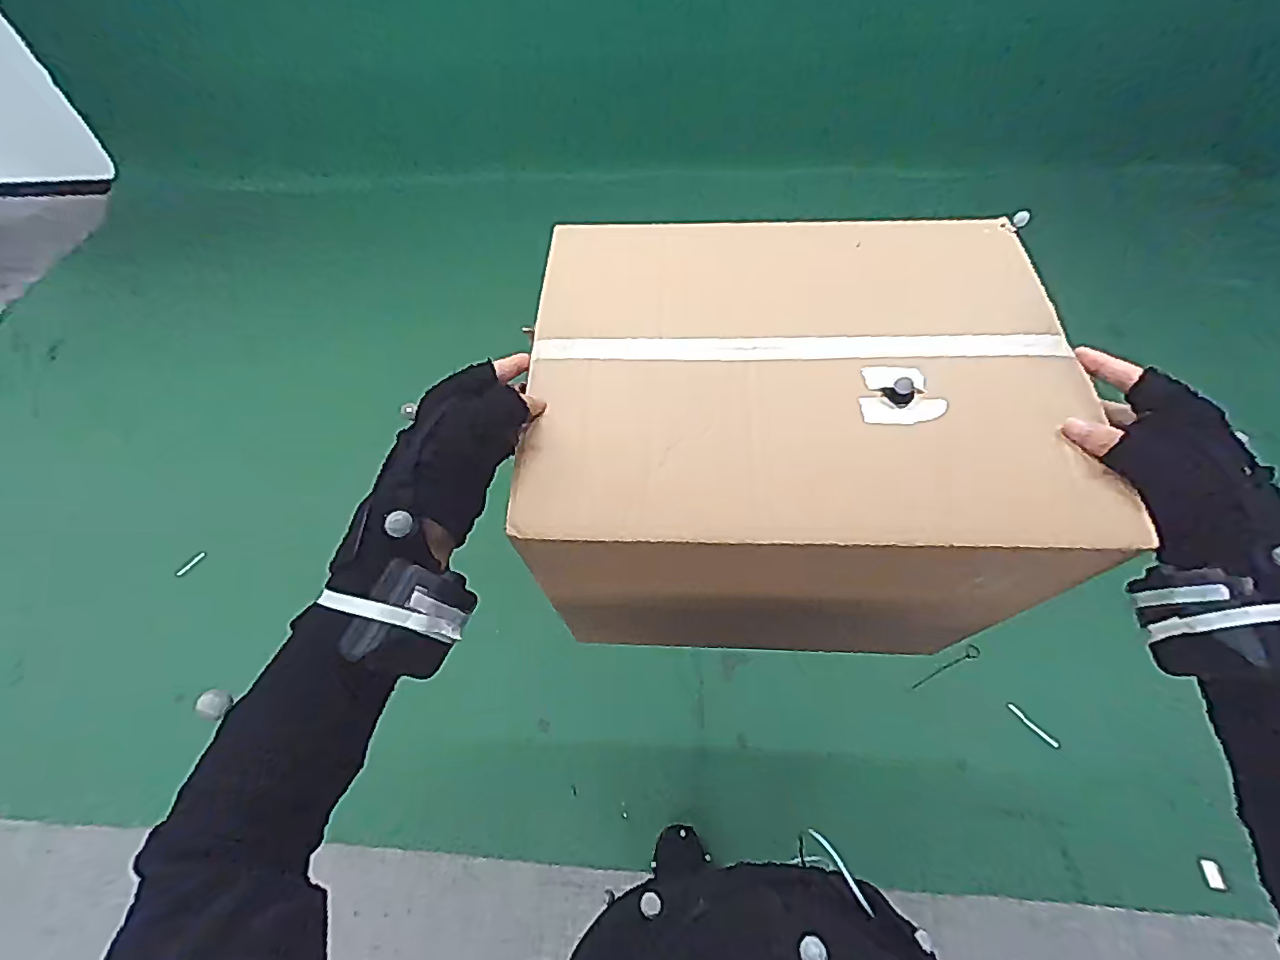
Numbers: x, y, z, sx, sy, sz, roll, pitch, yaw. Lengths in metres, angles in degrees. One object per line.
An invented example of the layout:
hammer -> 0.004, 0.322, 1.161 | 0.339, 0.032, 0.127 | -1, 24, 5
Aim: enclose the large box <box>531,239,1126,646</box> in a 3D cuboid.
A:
large box -> 0.127, -0.018, 0.561 | 0.408, 0.320, 0.320 | 1, 61, 2
